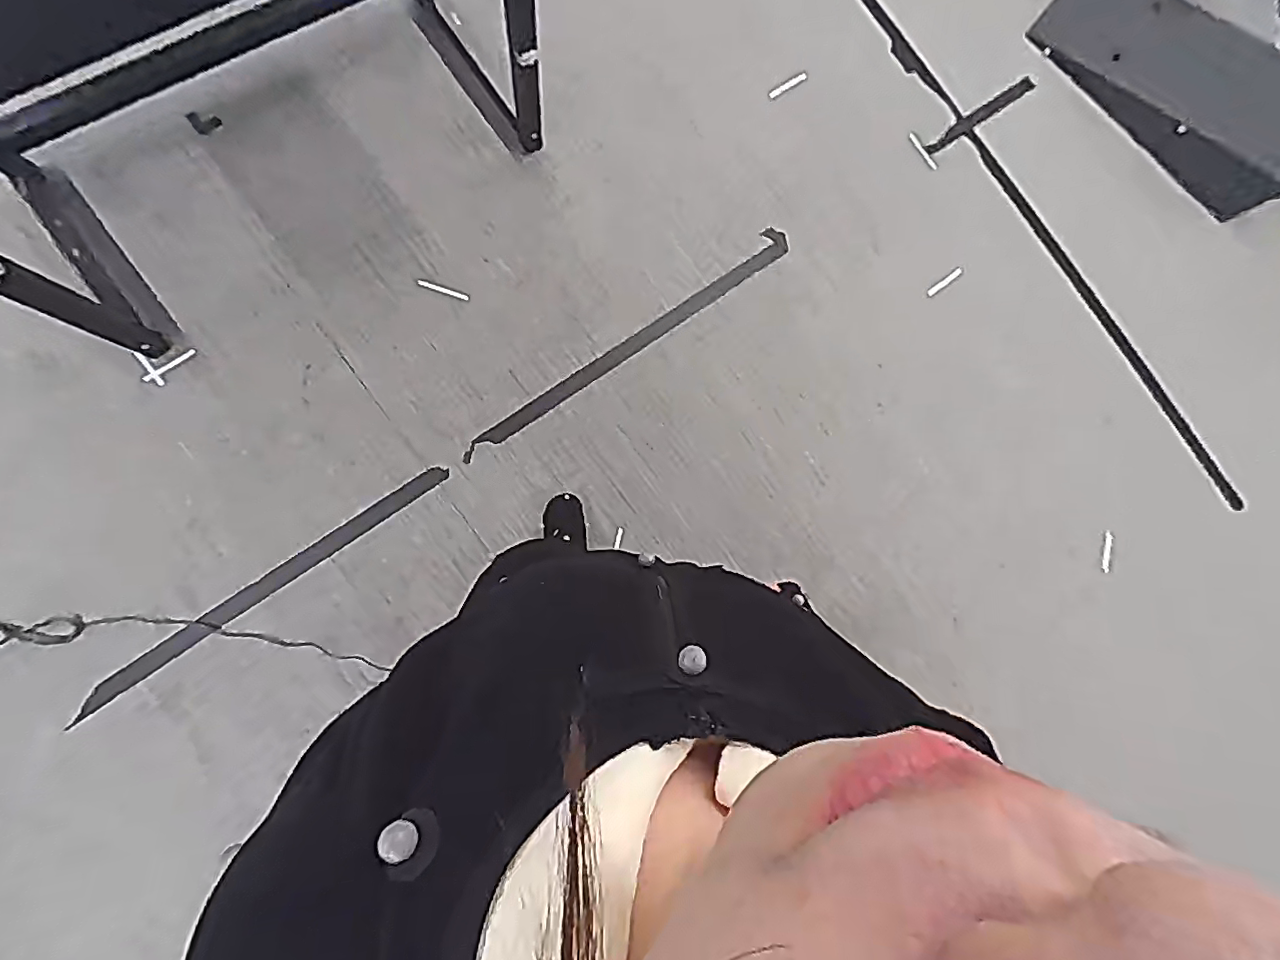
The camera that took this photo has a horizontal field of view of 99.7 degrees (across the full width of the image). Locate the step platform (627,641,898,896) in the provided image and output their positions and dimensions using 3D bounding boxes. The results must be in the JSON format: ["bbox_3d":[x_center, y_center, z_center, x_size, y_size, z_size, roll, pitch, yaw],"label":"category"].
[{"bbox_3d":[0.315,0.714,1.394,0.684,0.204,0.286,-30,89,-11],"label":"step platform"}]
